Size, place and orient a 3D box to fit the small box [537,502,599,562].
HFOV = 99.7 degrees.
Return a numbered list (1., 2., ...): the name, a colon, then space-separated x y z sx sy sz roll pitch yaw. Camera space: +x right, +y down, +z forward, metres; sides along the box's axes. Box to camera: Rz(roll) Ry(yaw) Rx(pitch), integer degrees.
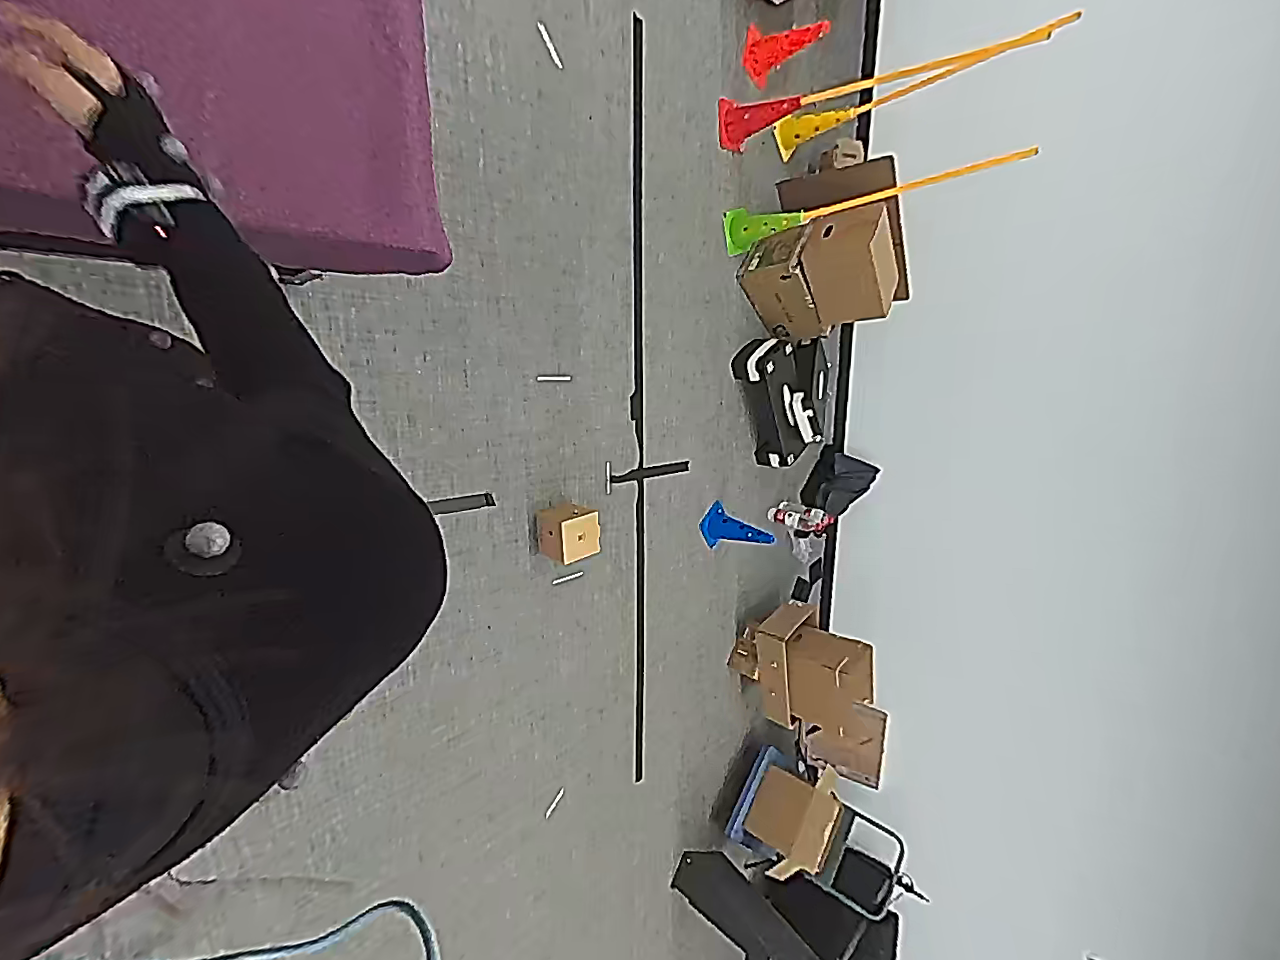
1. small box: -0.277 0.192 2.047 0.179 0.176 0.168 -16 111 -43
